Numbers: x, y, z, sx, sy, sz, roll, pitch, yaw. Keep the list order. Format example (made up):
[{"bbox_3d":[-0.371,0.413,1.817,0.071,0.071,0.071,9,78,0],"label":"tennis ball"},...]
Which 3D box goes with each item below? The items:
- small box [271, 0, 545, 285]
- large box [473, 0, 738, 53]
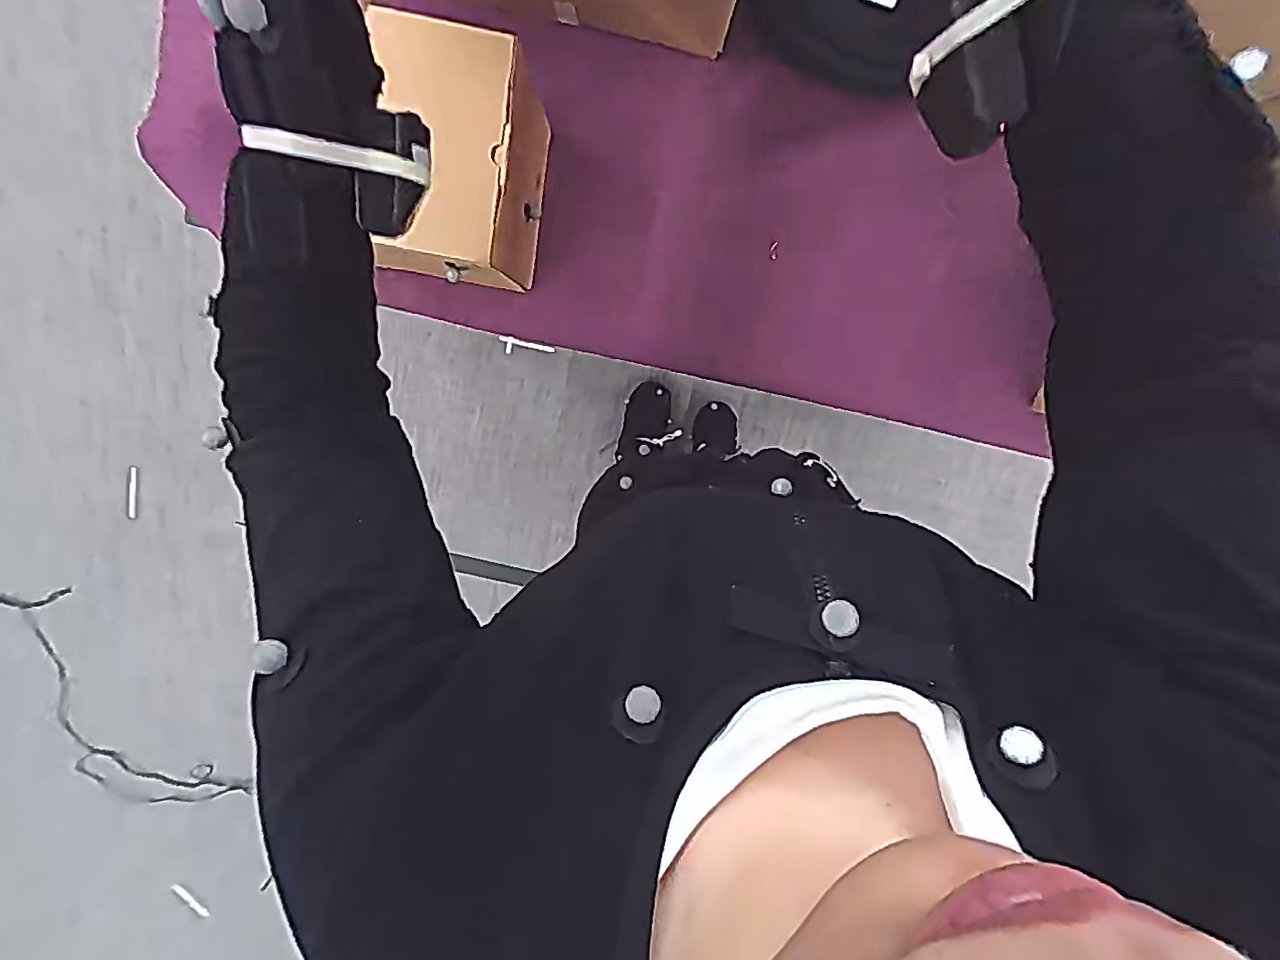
[{"bbox_3d":[-0.193,-0.284,0.491,0.179,0.176,0.168,8,102,-4],"label":"small box"},{"bbox_3d":[-0.028,-0.606,0.348,0.320,0.320,0.408,10,105,-3],"label":"large box"}]
